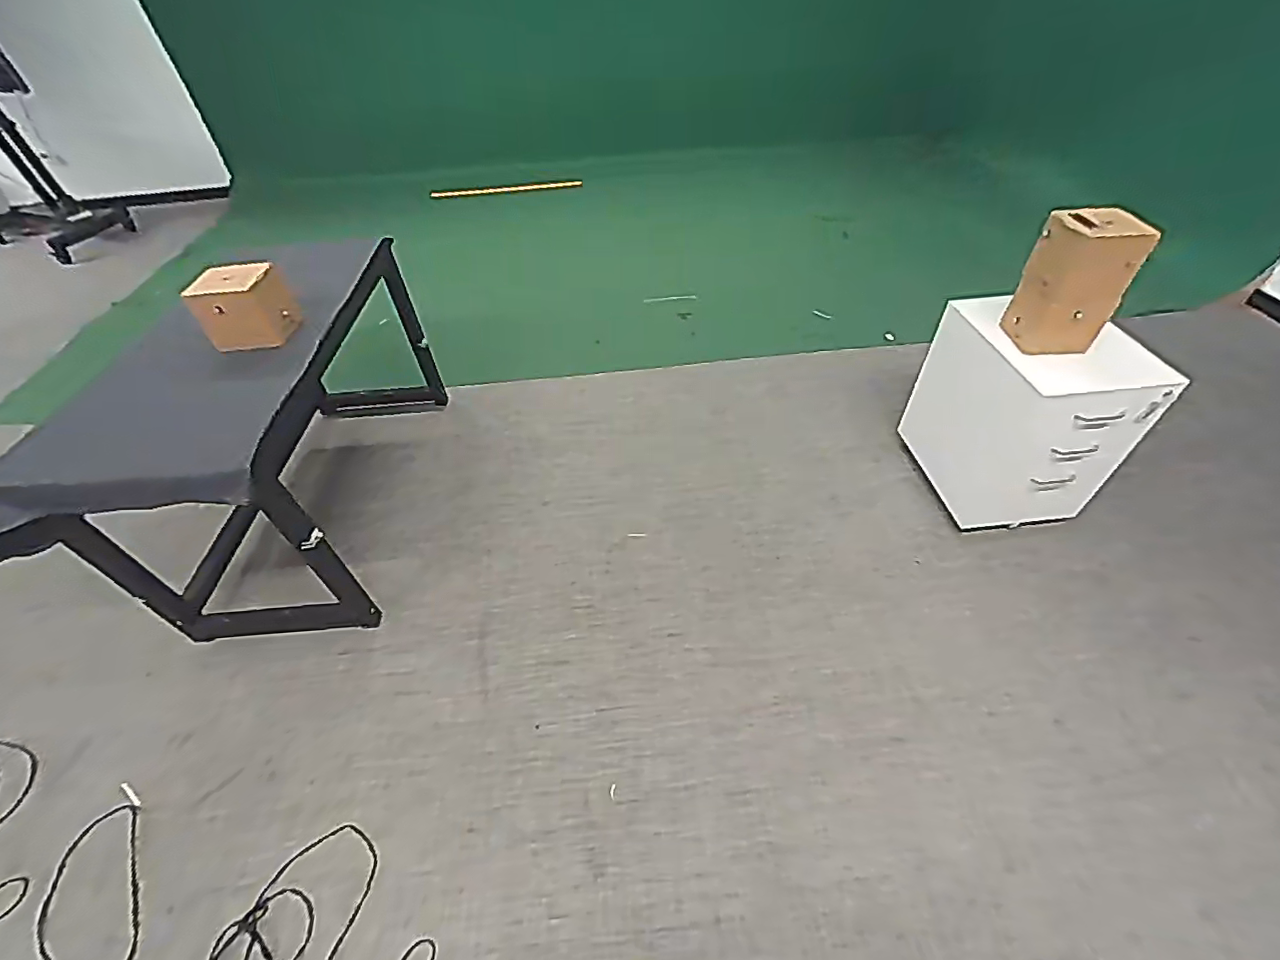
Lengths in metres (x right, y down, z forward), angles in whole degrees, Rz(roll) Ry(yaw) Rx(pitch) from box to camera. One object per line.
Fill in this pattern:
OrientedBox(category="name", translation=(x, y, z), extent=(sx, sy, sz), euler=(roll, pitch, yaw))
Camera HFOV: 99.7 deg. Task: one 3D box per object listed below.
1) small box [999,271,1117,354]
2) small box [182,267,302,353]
OrientedBox(category="small box", translation=(1.162, -0.469, 1.520), extent=(0.179, 0.176, 0.168), euler=(-1, 46, 2))
OrientedBox(category="small box", translation=(-1.084, -0.466, 1.491), extent=(0.179, 0.176, 0.168), euler=(-6, 46, -1))
